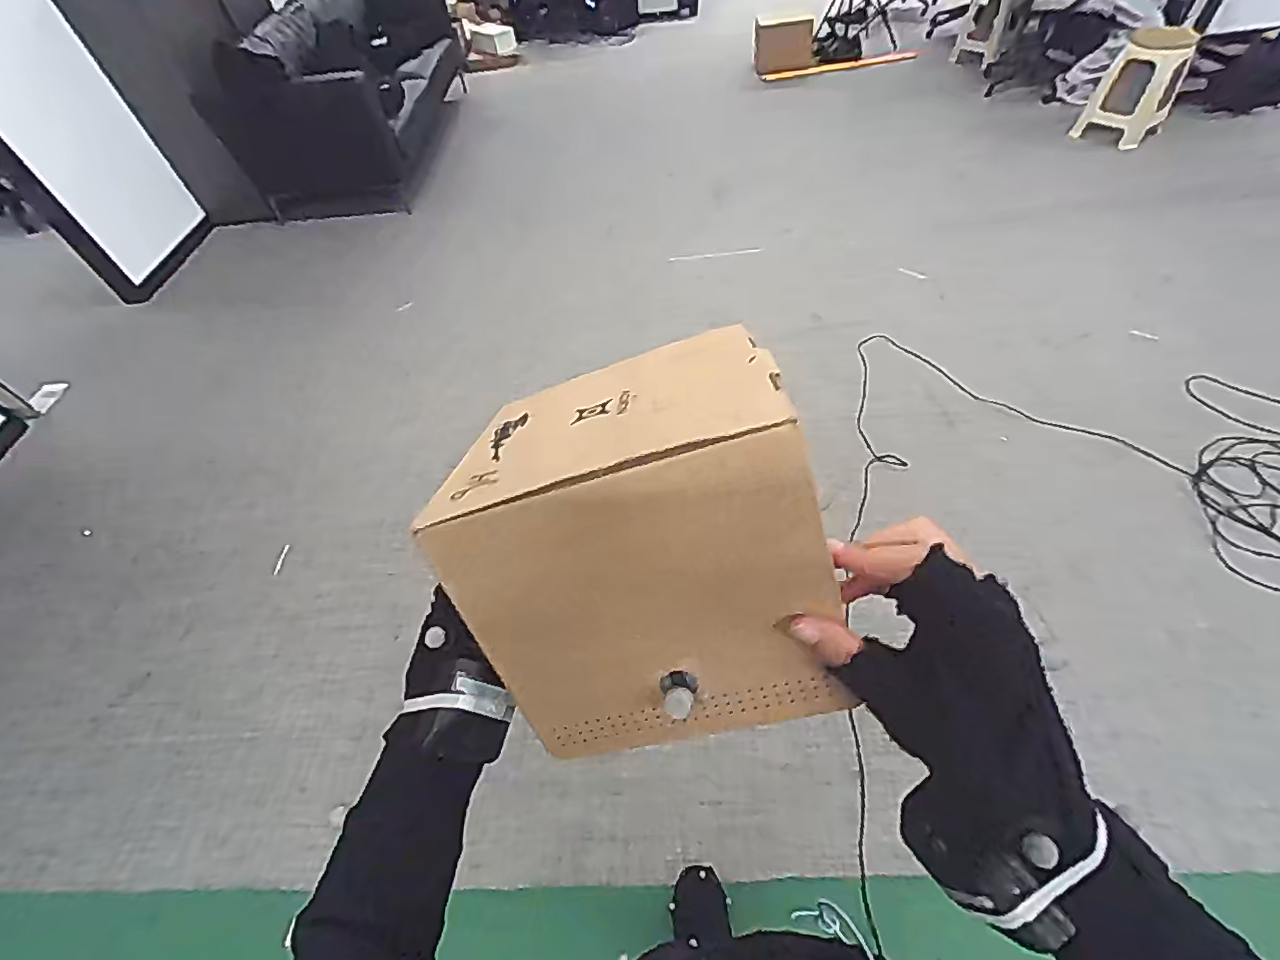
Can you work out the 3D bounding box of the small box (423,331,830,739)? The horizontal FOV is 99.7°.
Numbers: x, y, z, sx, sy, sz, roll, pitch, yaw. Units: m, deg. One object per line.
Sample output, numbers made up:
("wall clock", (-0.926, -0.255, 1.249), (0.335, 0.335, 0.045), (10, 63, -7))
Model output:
("small box", (0.009, 0.029, 0.339), (0.179, 0.176, 0.168), (-16, 25, 10))
